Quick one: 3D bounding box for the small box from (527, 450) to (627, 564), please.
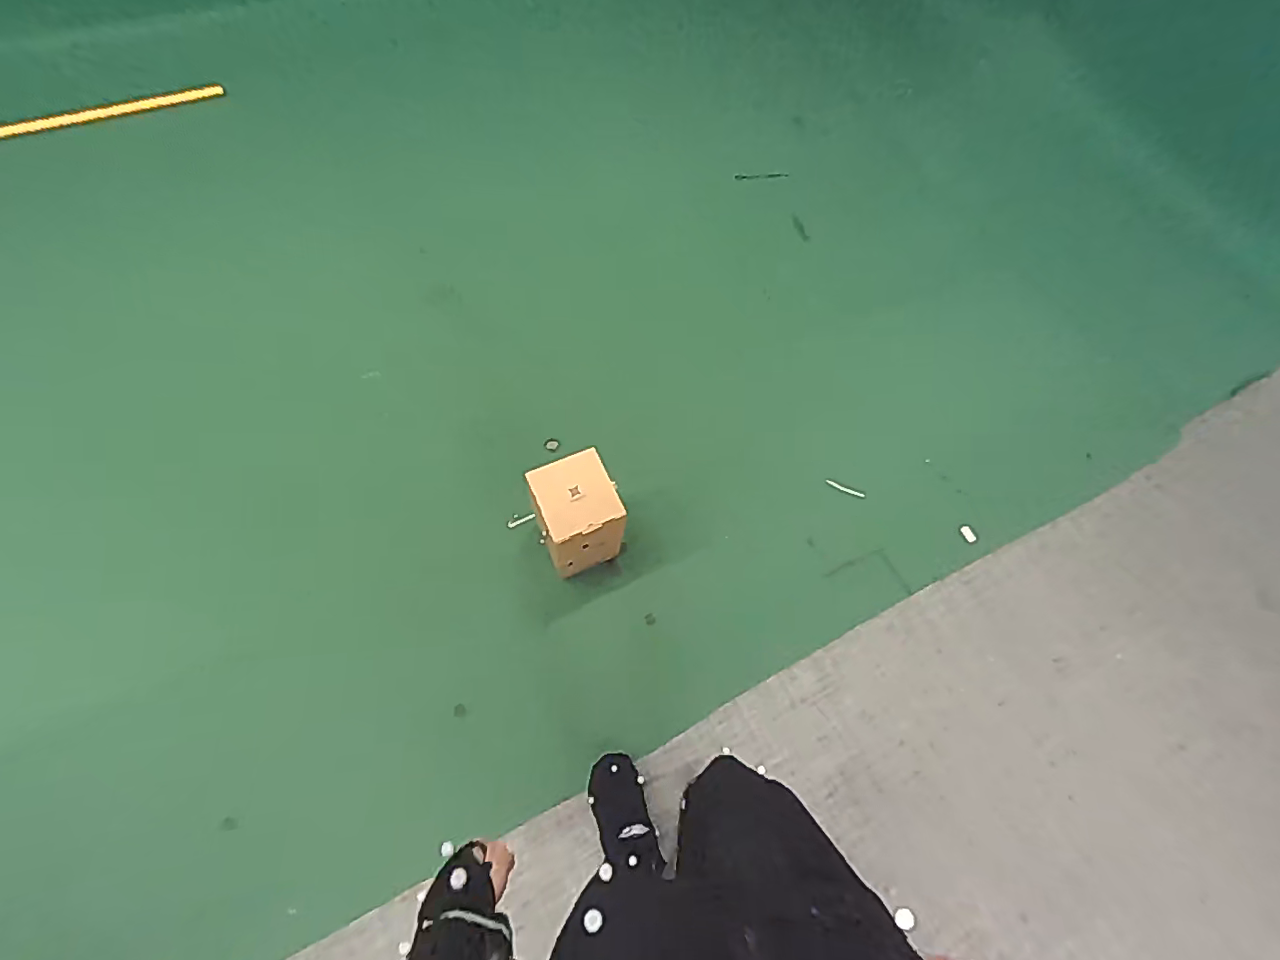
[{"bbox_3d":[-0.144,0.065,1.225,0.168,0.176,0.179,-22,70,-15],"label":"small box"}]
